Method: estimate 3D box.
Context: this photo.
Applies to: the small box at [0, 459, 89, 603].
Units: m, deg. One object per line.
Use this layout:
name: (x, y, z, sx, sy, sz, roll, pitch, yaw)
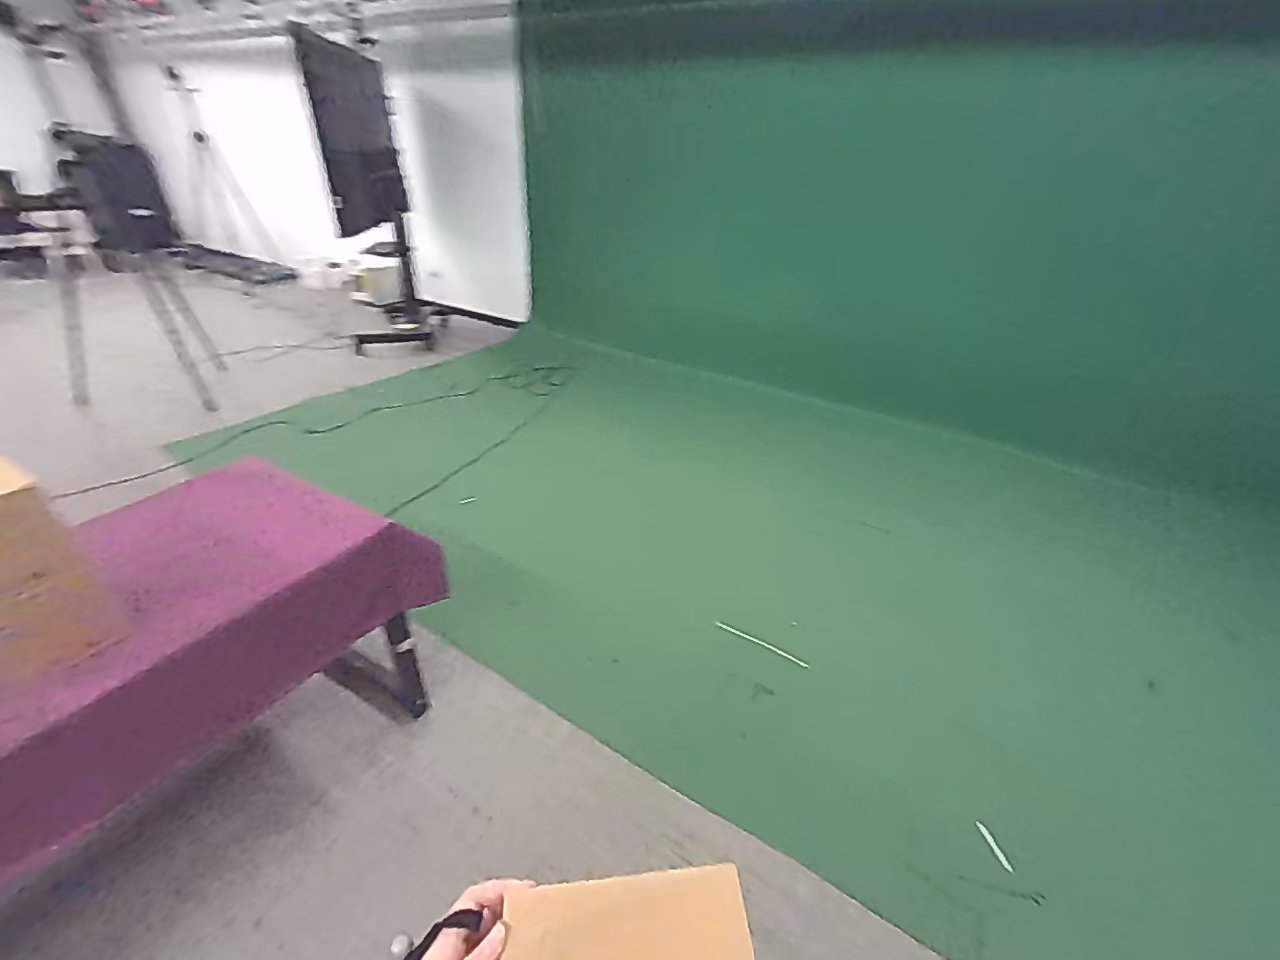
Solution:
small box: (-1.053, 0.092, 0.868, 0.179, 0.176, 0.168, 17, 33, 24)
